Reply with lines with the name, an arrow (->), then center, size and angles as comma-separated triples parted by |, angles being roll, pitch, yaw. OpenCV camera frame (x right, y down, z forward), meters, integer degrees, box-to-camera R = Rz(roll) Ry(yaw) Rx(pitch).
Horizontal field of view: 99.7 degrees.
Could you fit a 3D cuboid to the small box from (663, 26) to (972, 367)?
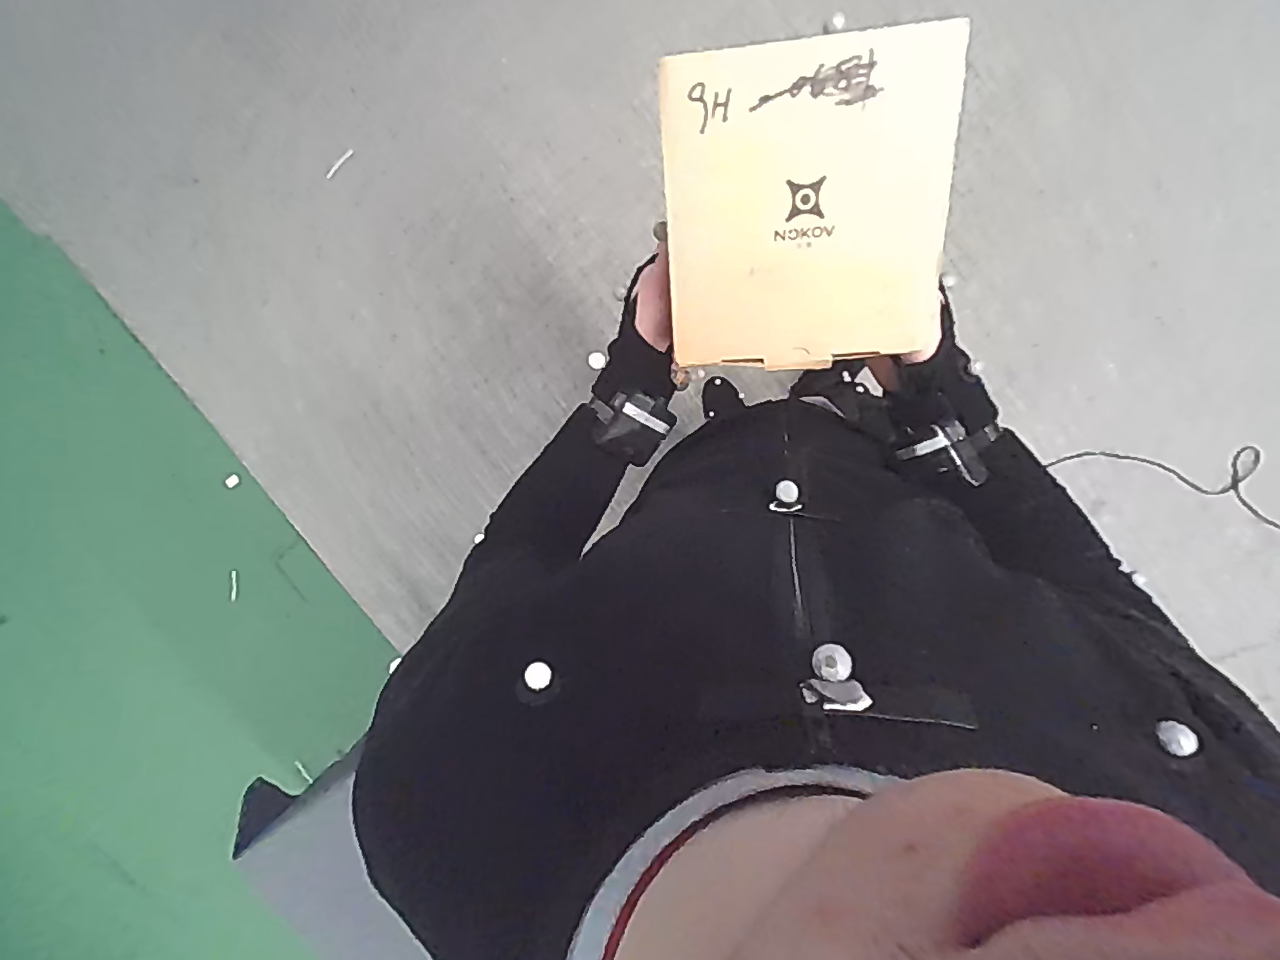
small box -> 0.107, -0.192, 0.399 | 0.168, 0.176, 0.179 | -2, 115, 6
